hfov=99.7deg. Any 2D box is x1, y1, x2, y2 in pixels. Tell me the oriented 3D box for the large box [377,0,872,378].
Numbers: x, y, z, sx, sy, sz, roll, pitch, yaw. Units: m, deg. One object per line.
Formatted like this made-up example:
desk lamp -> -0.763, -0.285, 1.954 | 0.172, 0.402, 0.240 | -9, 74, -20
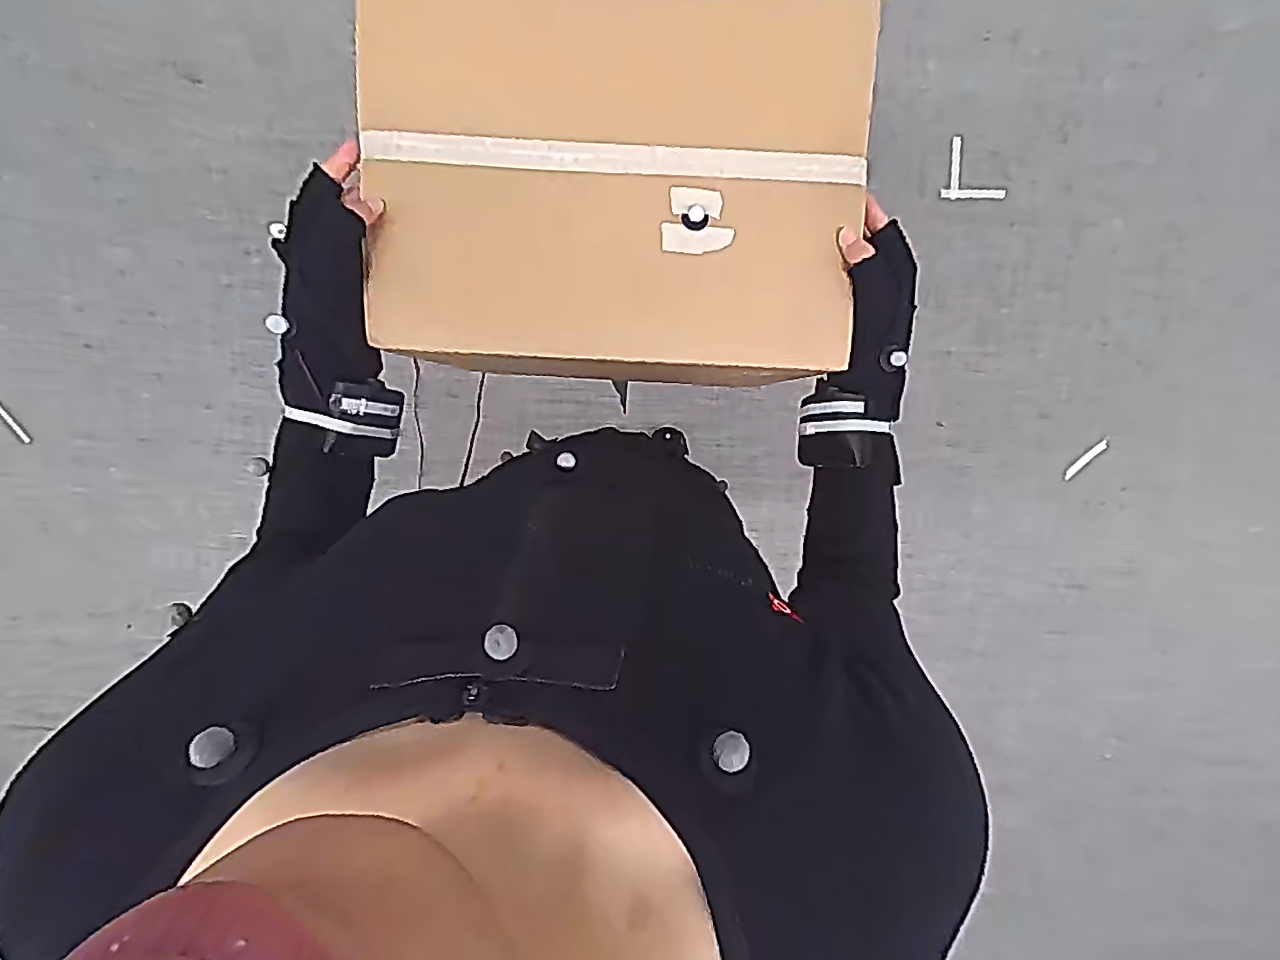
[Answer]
large box -> -0.019, -0.283, 0.592 | 0.408, 0.320, 0.320 | 2, 97, -1
